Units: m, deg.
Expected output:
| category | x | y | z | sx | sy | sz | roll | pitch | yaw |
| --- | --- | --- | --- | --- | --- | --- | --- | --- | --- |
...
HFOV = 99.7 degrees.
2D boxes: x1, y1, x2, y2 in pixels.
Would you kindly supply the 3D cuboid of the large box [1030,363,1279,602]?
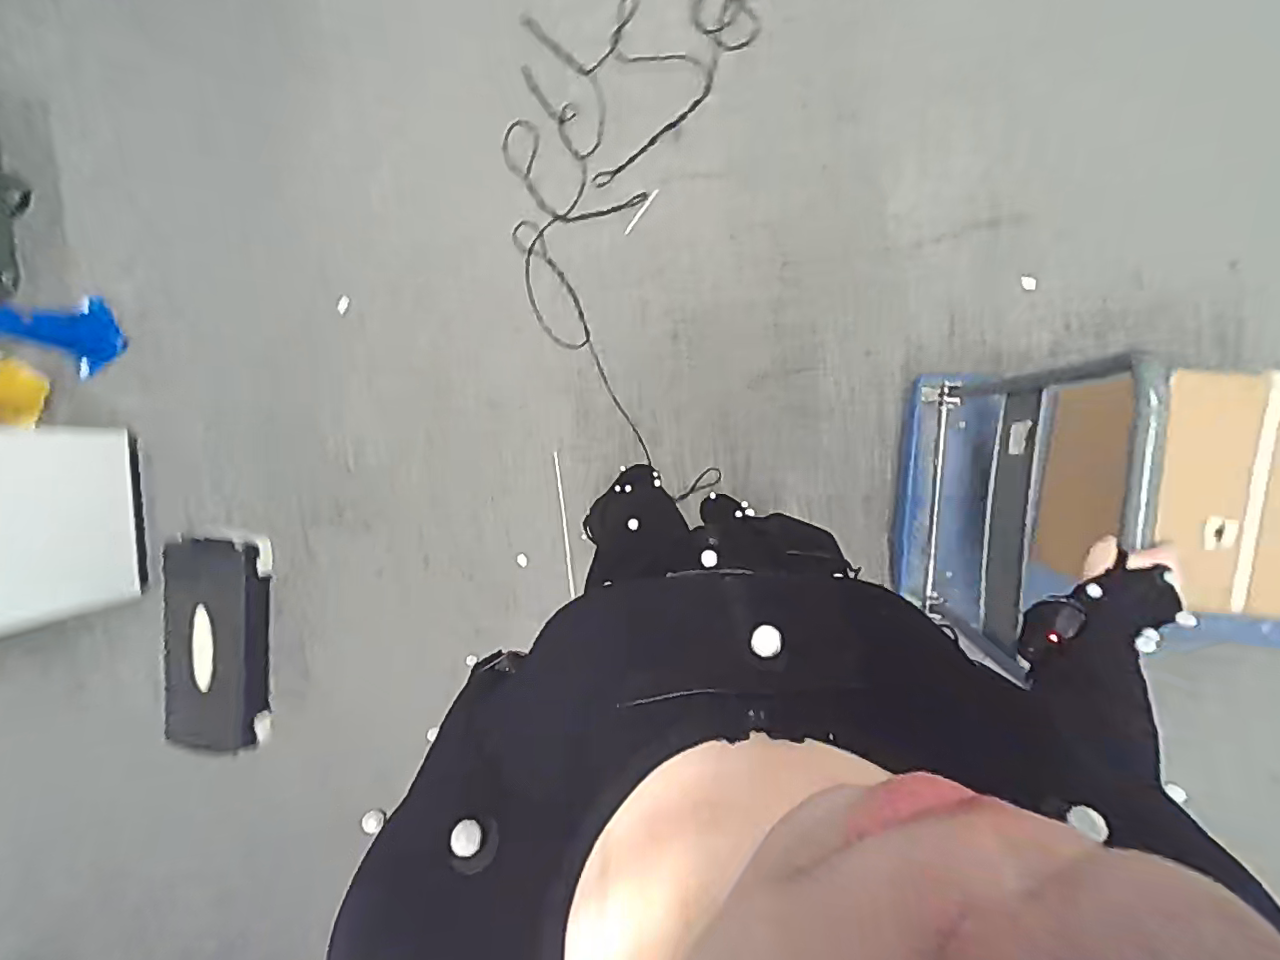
| category | x | y | z | sx | sy | sz | roll | pitch | yaw |
| --- | --- | --- | --- | --- | --- | --- | --- | --- | --- |
| large box | 1.038 | -0.008 | 1.066 | 0.320 | 0.320 | 0.408 | 5 | 95 | 8 |
